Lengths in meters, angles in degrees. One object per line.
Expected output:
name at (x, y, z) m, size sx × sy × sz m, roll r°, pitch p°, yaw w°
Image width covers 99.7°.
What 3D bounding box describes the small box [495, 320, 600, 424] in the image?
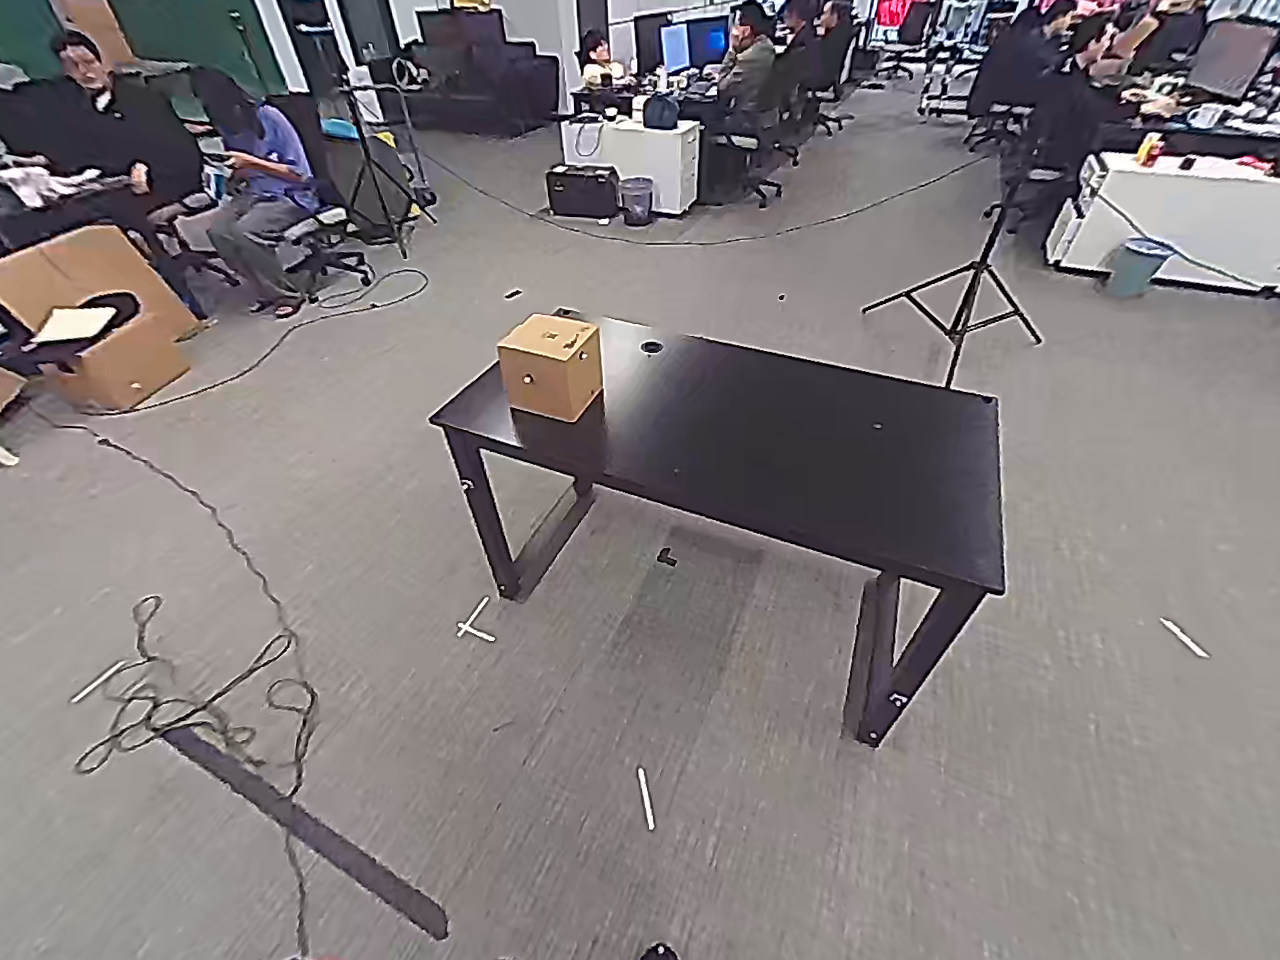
small box at (-0.208, -0.253, 1.267) m, size 0.179 × 0.176 × 0.168 m, roll 15°, pitch 46°, yaw 17°
